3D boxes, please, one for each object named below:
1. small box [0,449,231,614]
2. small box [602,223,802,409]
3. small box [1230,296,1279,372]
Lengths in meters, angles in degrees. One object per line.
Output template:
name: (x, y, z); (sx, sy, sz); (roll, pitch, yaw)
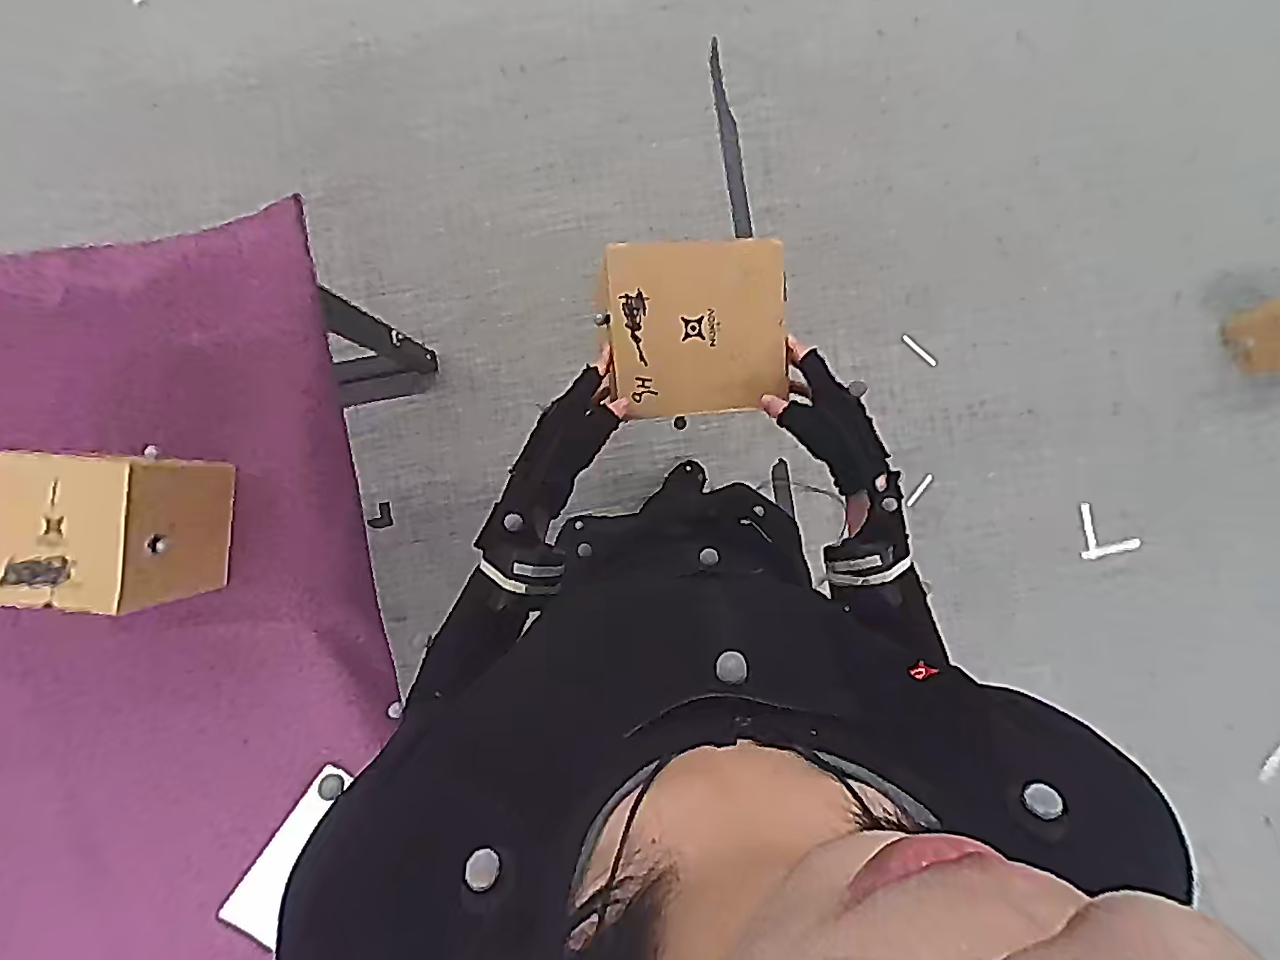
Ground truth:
small box: (-0.663, 0.057, 0.685); (0.168, 0.176, 0.179); (5, 90, 0)
small box: (0.056, -0.164, 0.585); (0.179, 0.176, 0.168); (-5, 97, -8)
small box: (1.783, -0.414, 1.458); (0.179, 0.176, 0.168); (-29, 90, 0)
